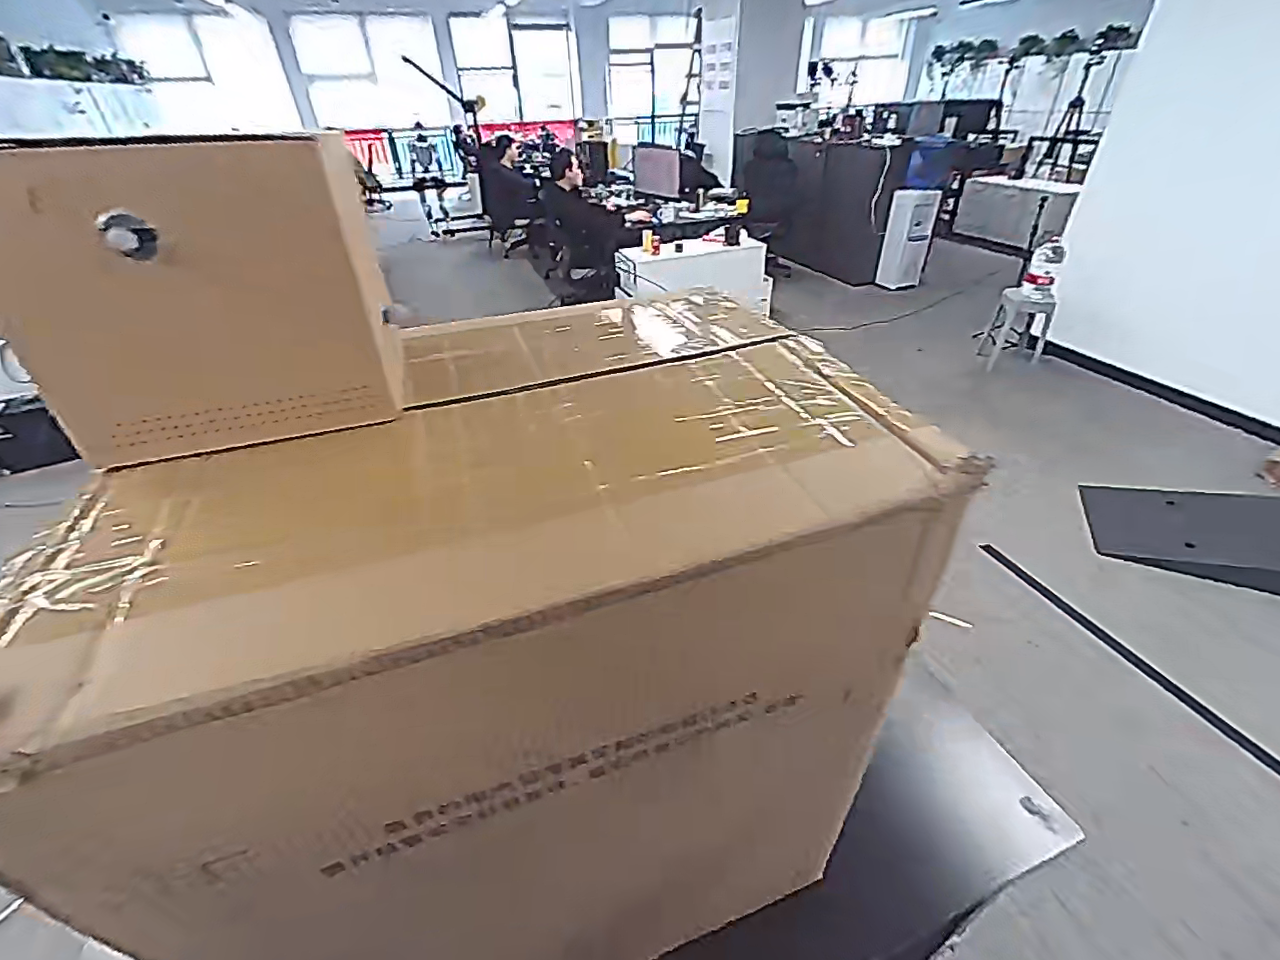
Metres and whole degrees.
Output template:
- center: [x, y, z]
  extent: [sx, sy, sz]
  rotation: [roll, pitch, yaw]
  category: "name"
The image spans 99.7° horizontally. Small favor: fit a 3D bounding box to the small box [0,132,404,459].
- center: [-0.276, -0.130, 0.366]
  extent: [0.179, 0.176, 0.168]
  rotation: [-13, 35, -16]
  category: "small box"
